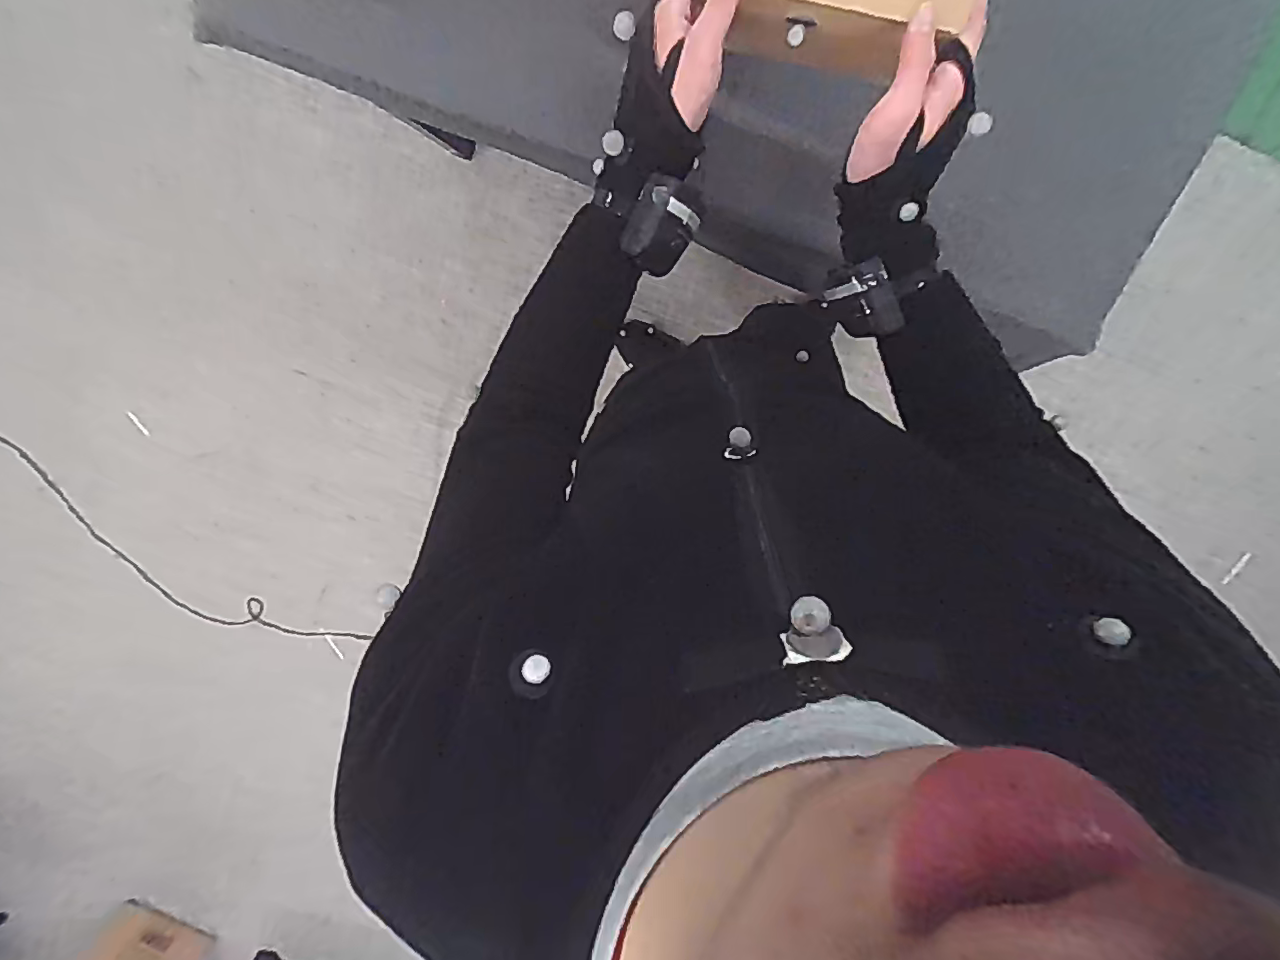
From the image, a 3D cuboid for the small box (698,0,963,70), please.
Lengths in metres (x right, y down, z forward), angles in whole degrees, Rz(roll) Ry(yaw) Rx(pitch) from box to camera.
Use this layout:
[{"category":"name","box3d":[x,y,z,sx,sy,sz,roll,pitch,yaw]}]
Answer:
[{"category":"small box","box3d":[0.138,-0.407,0.365,0.179,0.176,0.168,15,118,1]}]
